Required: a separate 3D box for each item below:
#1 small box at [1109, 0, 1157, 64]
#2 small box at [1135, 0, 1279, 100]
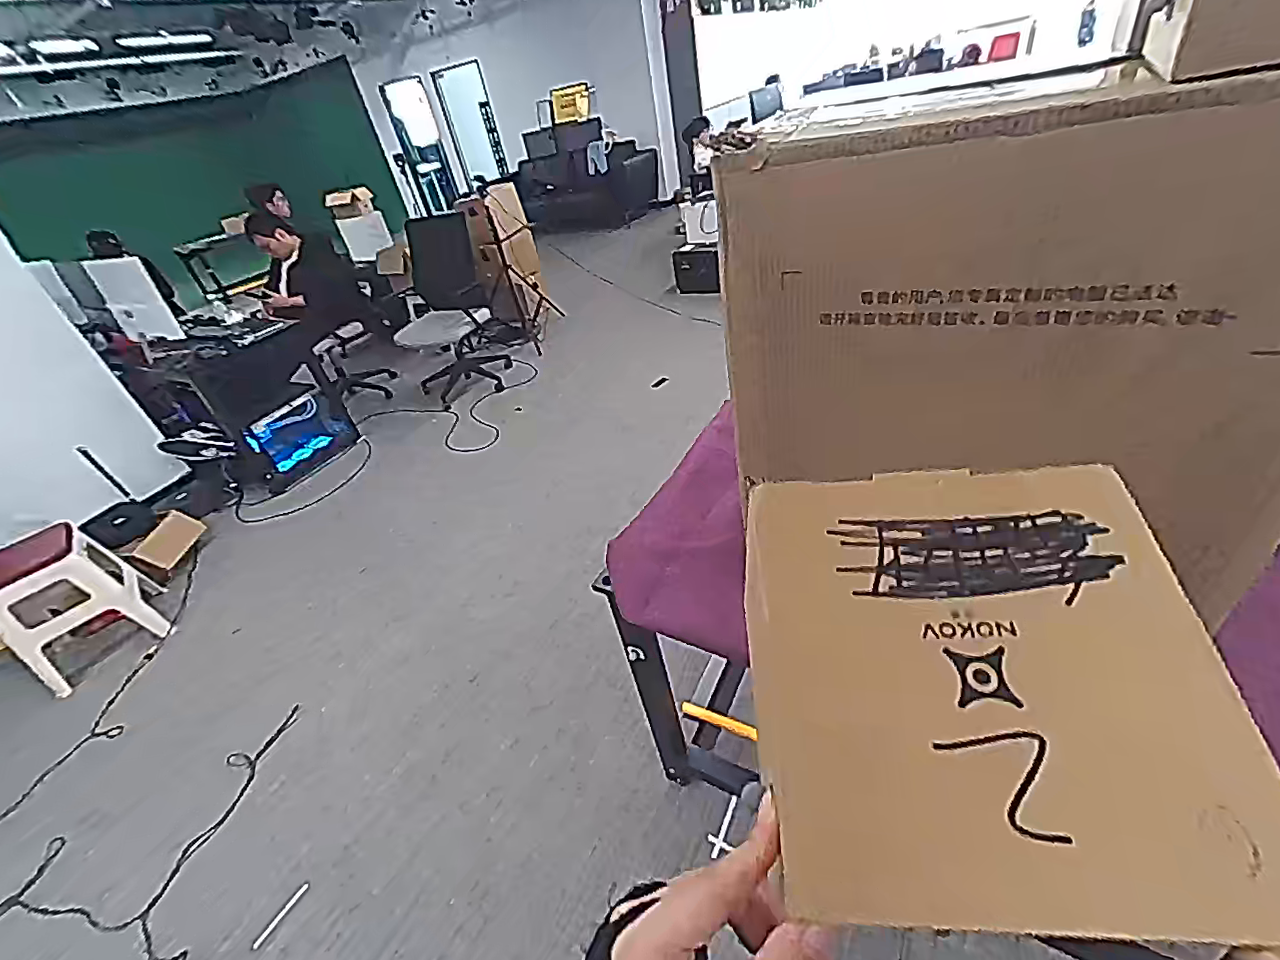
[{"bbox_3d":[0.547,-0.490,0.478,0.168,0.176,0.179,11,42,30],"label":"small box"},{"bbox_3d":[0.450,-0.363,0.336,0.168,0.176,0.179,10,41,30],"label":"small box"}]
